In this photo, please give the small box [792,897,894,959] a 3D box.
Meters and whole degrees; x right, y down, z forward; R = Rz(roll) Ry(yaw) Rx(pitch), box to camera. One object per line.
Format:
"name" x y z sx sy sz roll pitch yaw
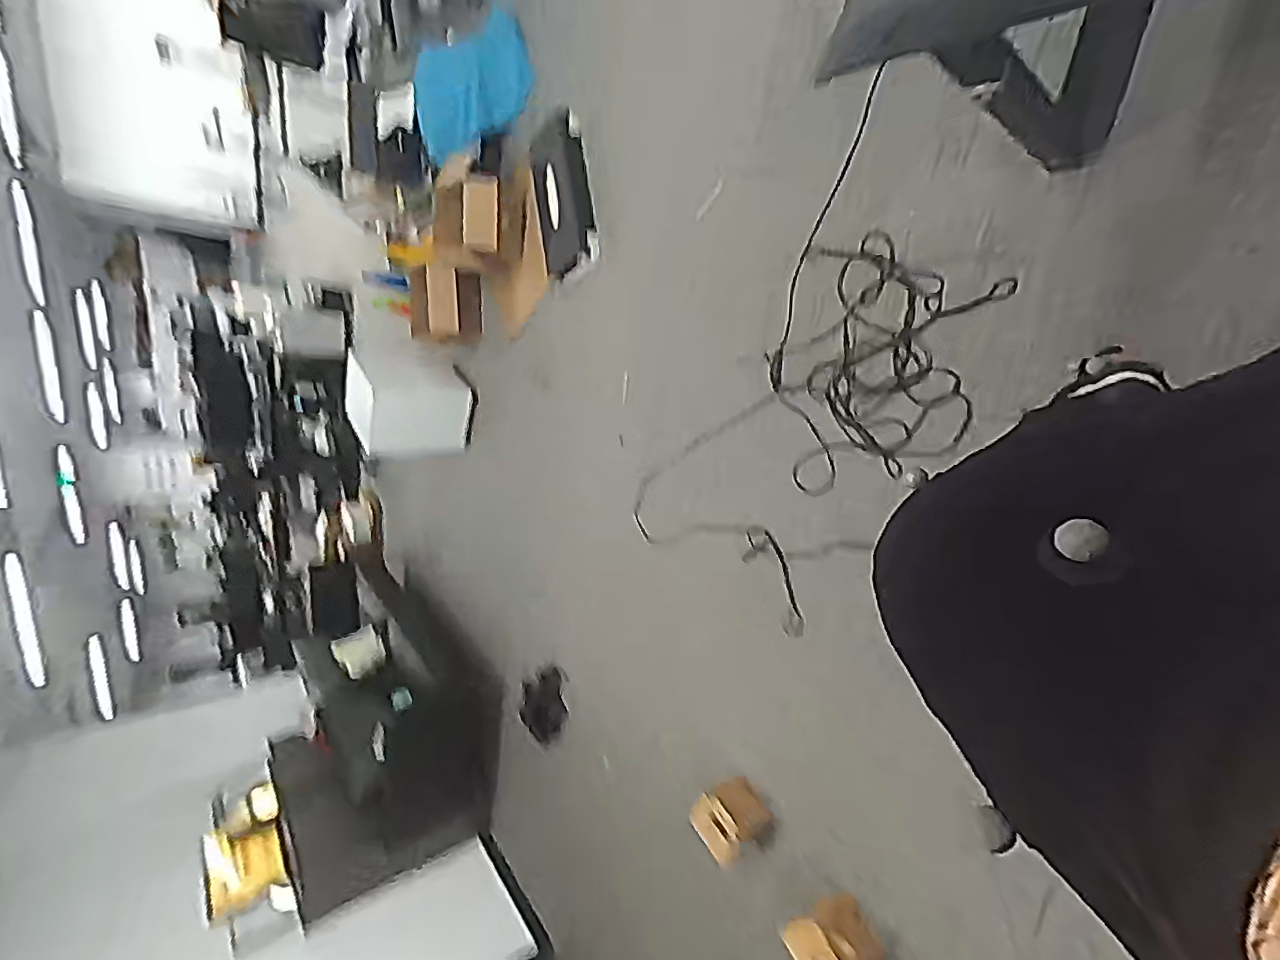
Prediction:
"small box" 0.577 1.336 1.533 0.168 0.176 0.179 53 131 33
